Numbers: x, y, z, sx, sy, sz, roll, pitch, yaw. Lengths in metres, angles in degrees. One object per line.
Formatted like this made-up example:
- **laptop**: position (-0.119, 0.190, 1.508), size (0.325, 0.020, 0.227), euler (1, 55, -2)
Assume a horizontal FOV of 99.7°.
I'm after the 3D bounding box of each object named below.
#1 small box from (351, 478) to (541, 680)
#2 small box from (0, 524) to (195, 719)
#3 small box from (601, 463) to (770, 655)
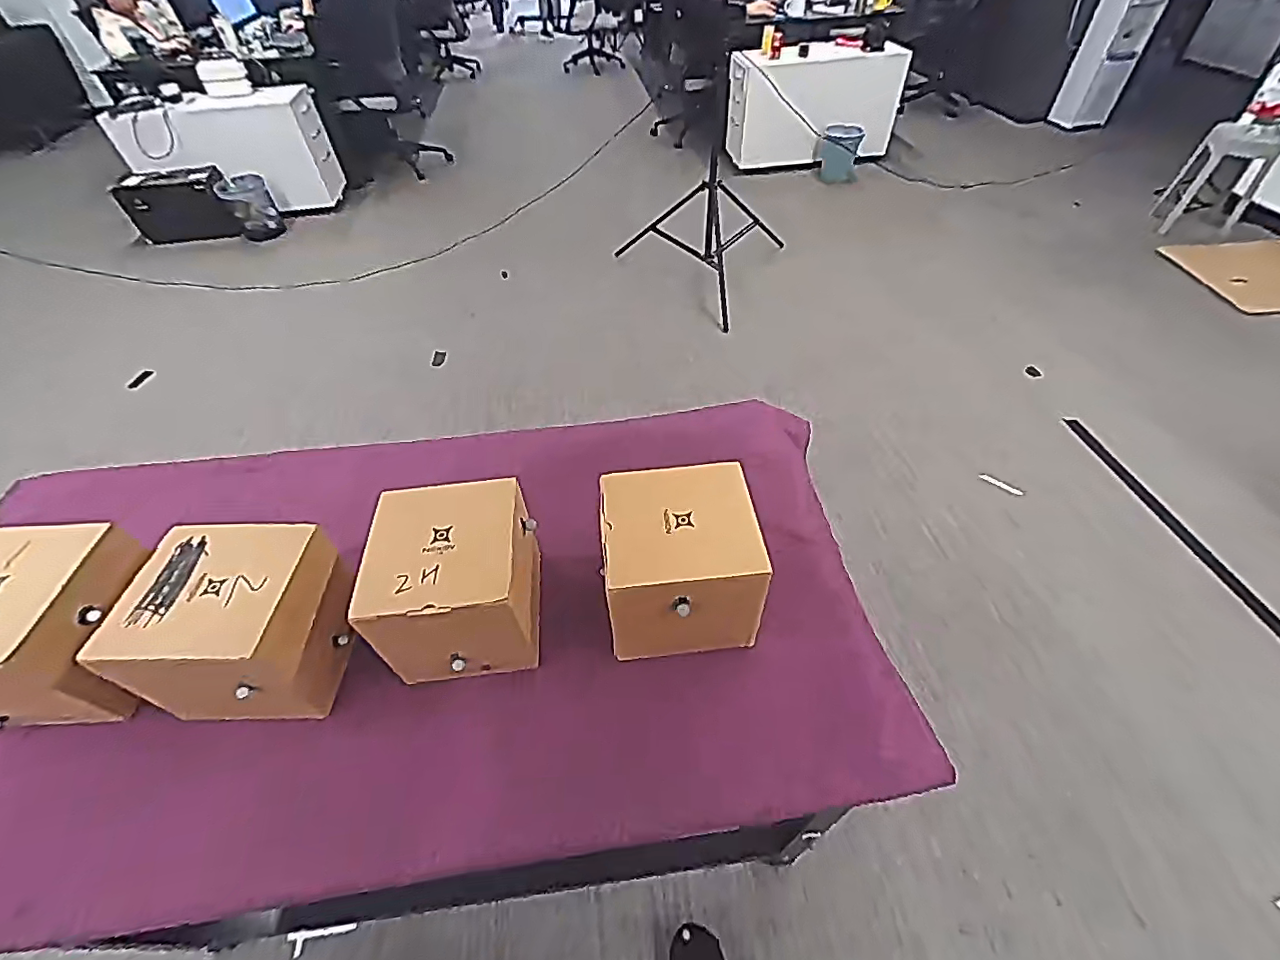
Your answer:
- **small box**: position (-0.219, 0.122, 0.668), size (0.168, 0.176, 0.179), euler (-7, 48, -2)
- **small box**: position (-0.694, 0.173, 0.644), size (0.168, 0.176, 0.179), euler (-2, 48, 0)
- **small box**: position (0.047, 0.101, 0.674), size (0.179, 0.176, 0.168), euler (-6, 47, -1)
